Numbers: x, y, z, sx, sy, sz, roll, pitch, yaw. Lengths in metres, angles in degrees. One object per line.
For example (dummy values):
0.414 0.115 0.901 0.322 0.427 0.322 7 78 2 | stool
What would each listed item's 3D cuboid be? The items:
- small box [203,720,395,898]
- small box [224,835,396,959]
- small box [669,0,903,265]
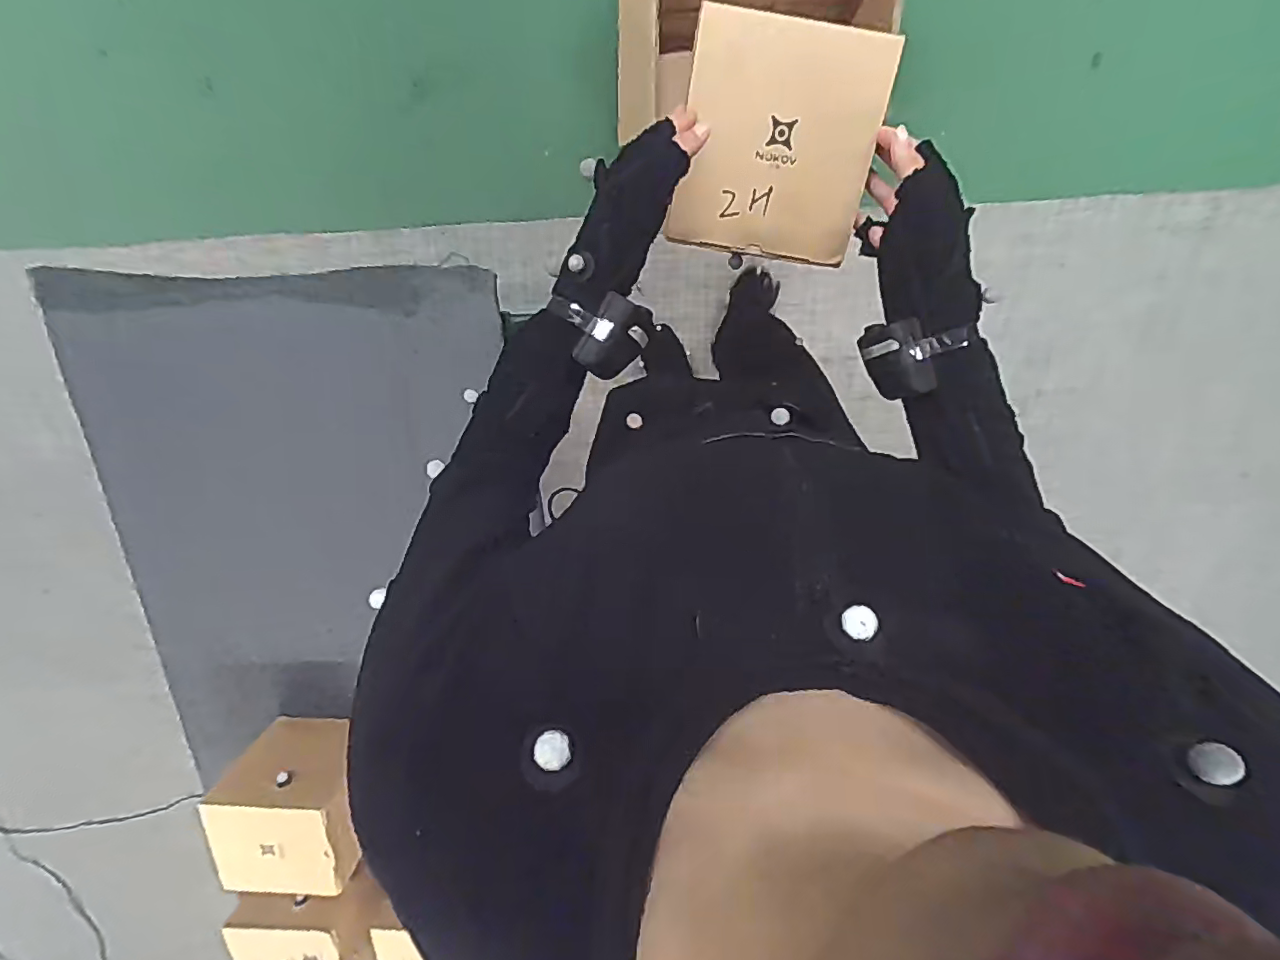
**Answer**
-0.508 0.495 0.832 0.179 0.176 0.168 1 107 2 | small box
-0.530 0.722 0.904 0.179 0.176 0.168 -1 107 4 | small box
0.122 -0.320 0.536 0.168 0.176 0.179 9 113 -1 | small box
